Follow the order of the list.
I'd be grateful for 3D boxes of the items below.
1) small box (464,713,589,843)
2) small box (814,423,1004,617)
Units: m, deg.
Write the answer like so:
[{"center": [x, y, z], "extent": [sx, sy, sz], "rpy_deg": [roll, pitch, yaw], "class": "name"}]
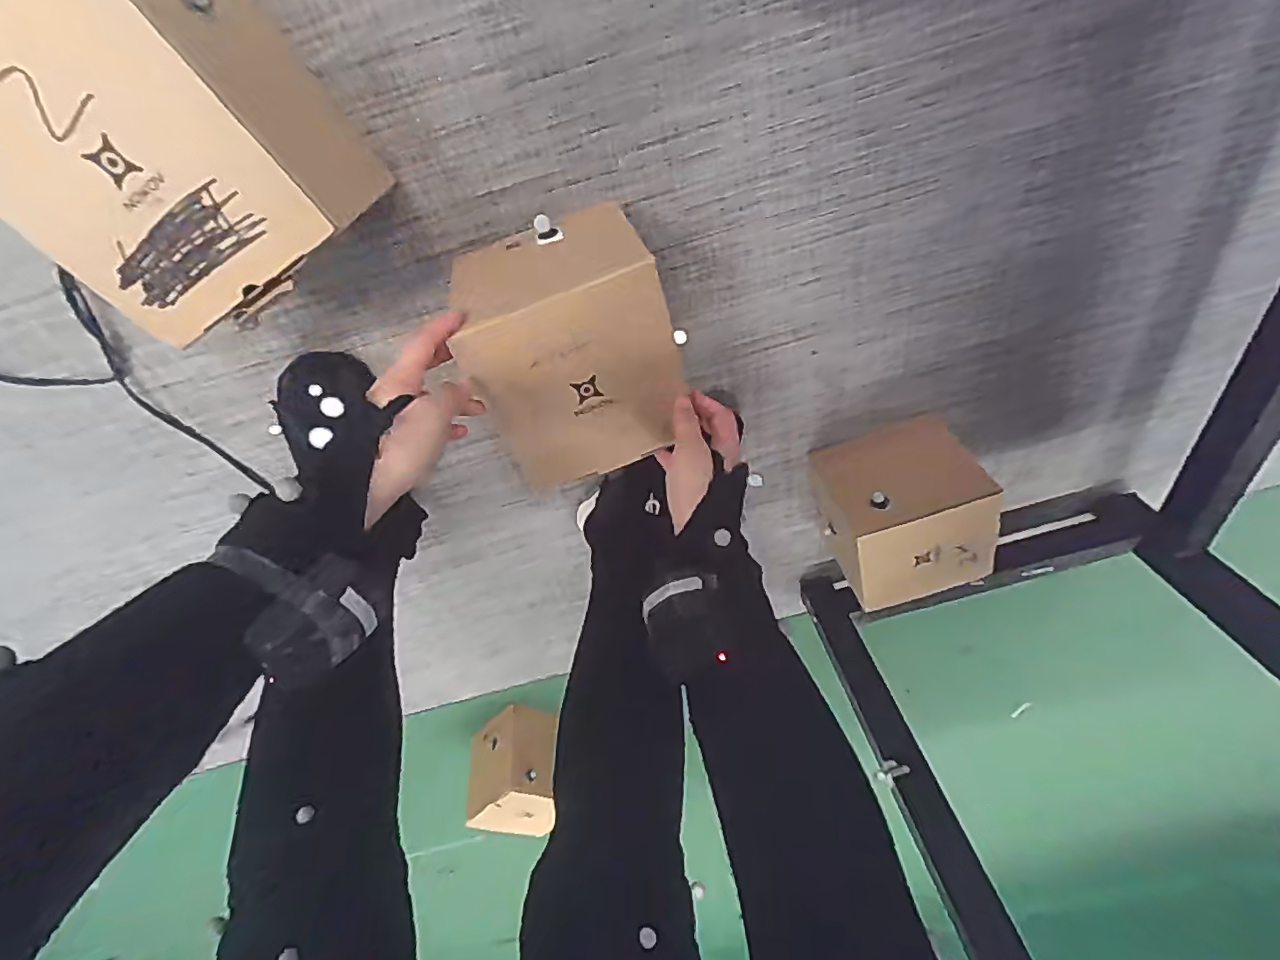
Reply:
[{"center": [-0.221, 0.588, 1.071], "extent": [0.179, 0.176, 0.168], "rpy_deg": [31, 118, -28], "class": "small box"}, {"center": [0.350, 0.051, 0.737], "extent": [0.179, 0.176, 0.168], "rpy_deg": [-19, 131, 6], "class": "small box"}]
